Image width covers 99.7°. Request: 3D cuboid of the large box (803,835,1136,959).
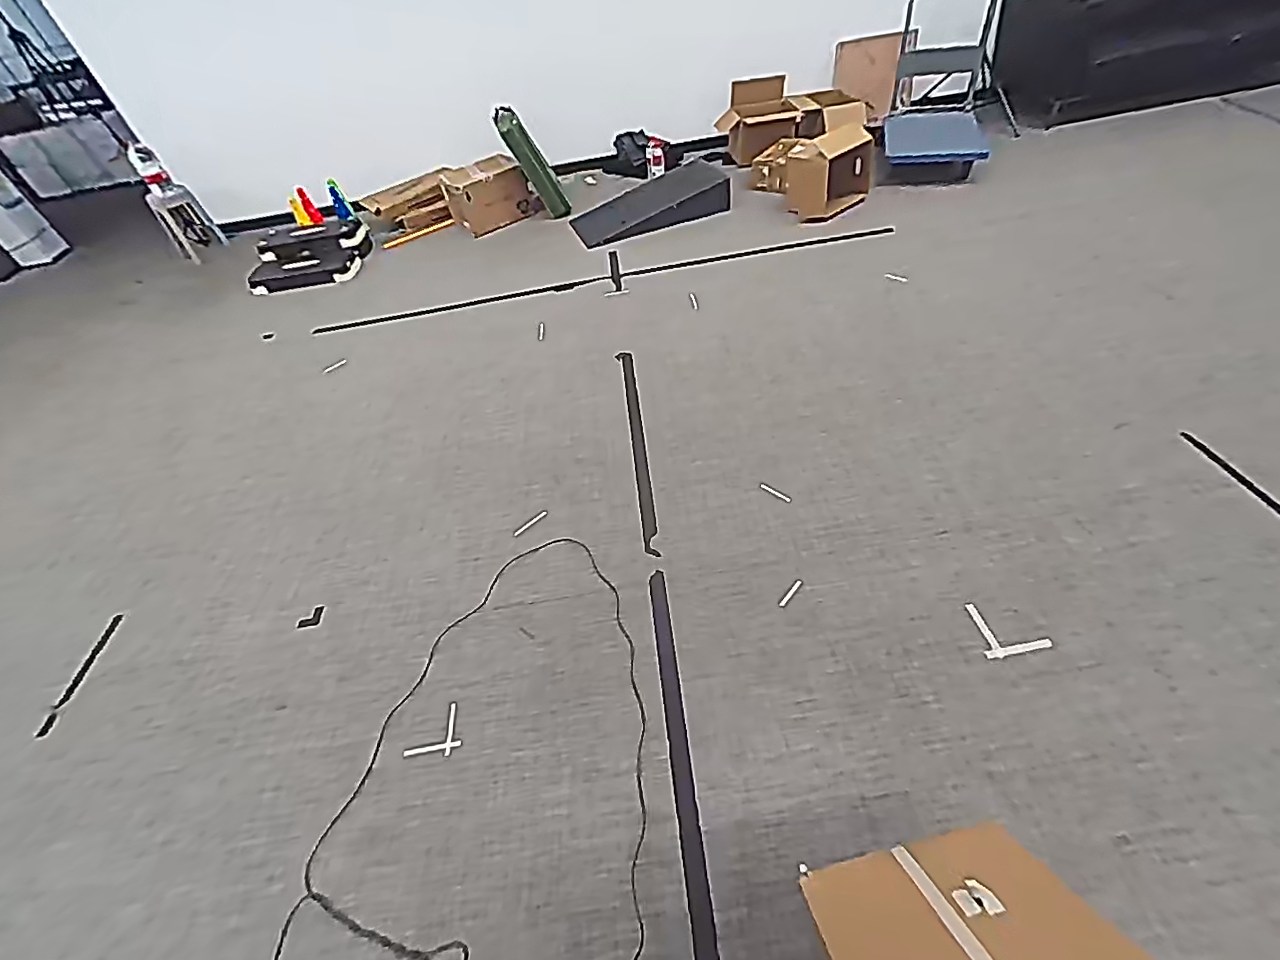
[{"bbox_3d":[0.435,0.710,0.618,0.320,0.408,0.320,-14,85,-1],"label":"large box"}]
